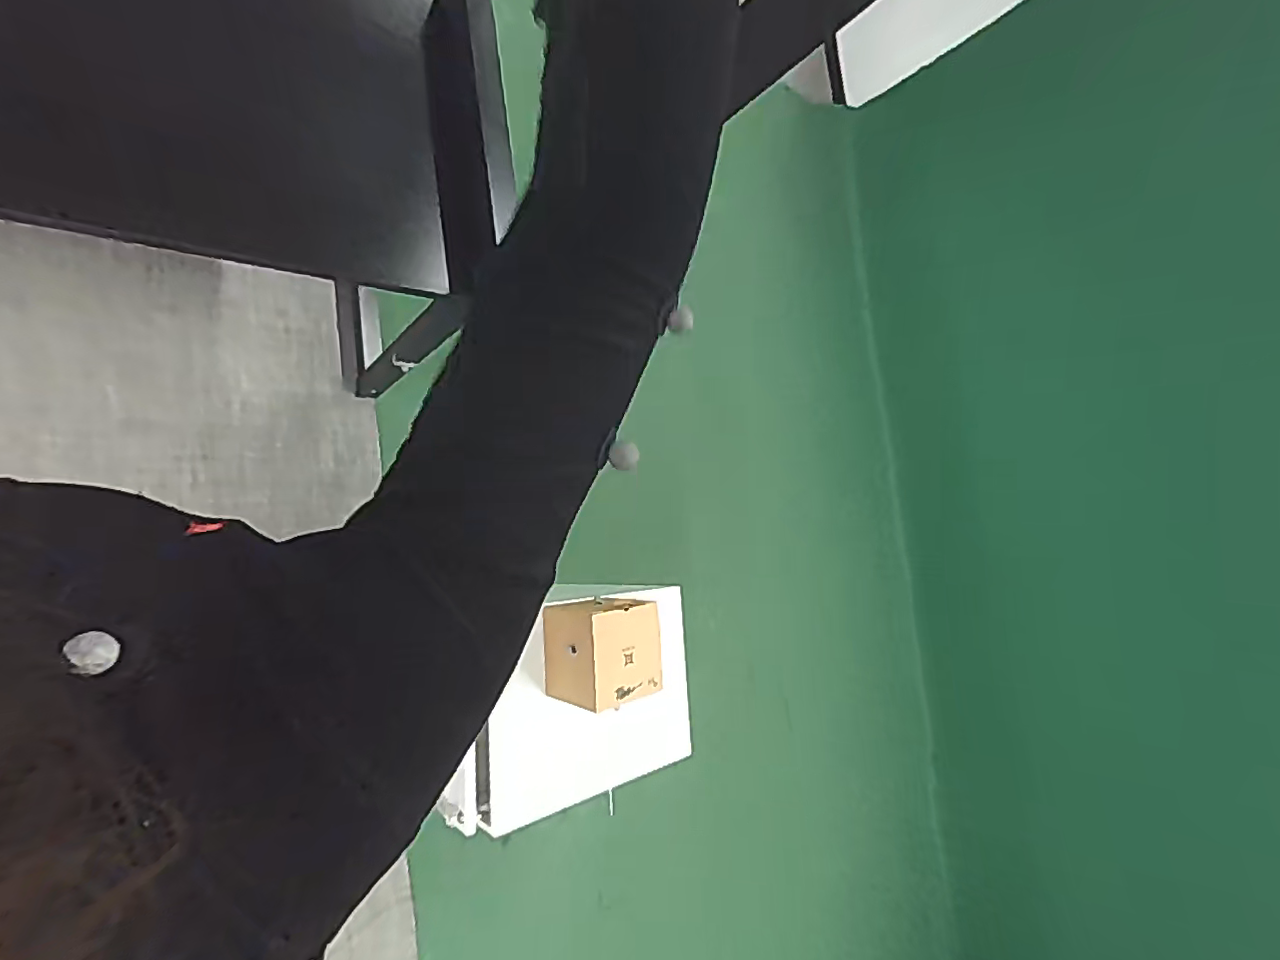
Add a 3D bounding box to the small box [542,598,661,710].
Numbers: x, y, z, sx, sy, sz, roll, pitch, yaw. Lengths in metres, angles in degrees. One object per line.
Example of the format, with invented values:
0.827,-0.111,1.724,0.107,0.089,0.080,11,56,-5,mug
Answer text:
-0.078,0.326,1.055,0.168,0.176,0.179,1,82,-42,small box
